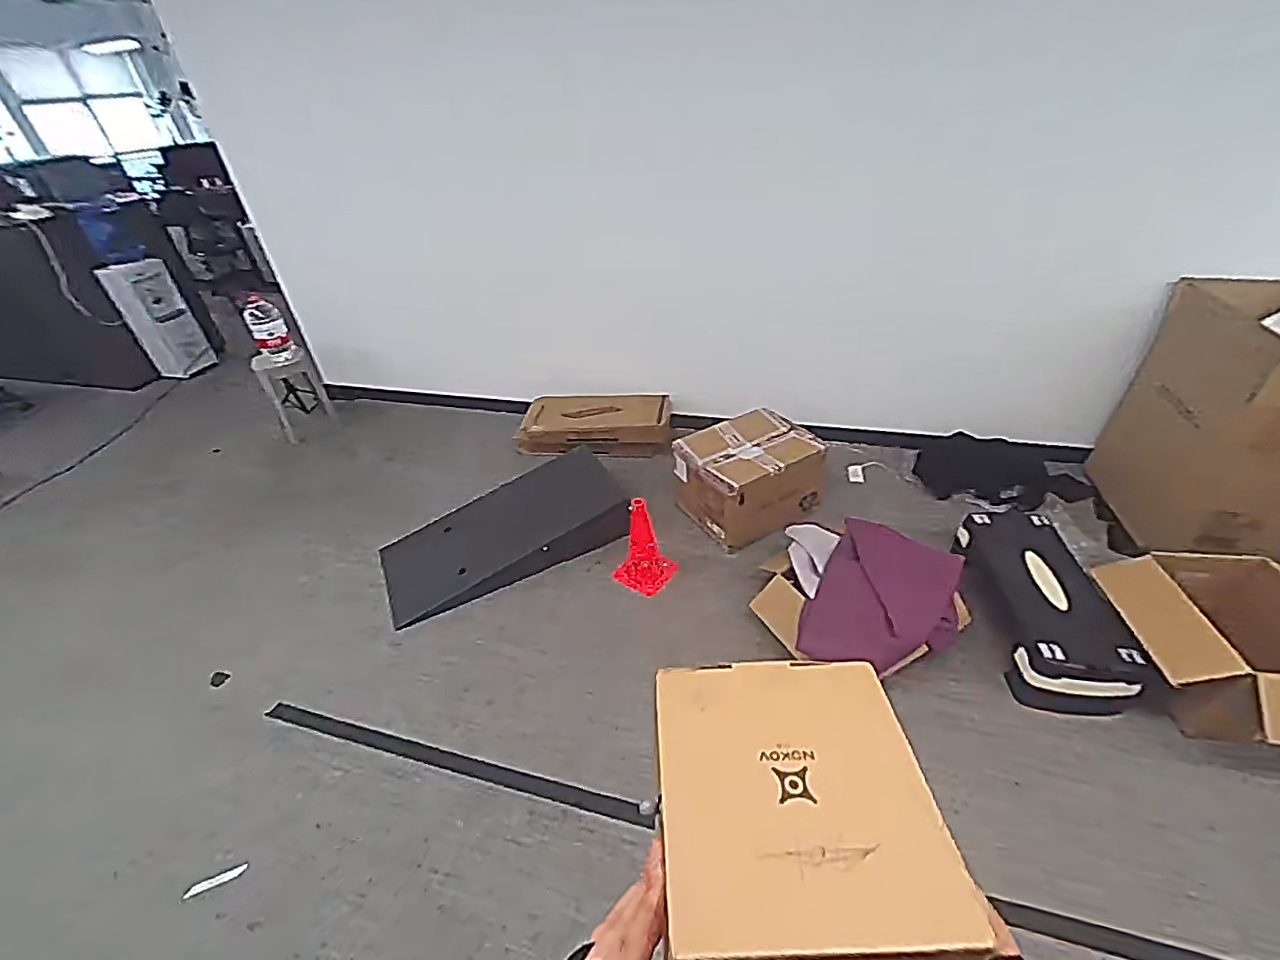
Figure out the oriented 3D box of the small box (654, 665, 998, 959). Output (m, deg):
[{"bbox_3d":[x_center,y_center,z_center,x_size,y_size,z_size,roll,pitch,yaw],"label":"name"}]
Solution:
[{"bbox_3d":[0.096,0.256,0.379,0.168,0.176,0.179,-2,33,-1],"label":"small box"}]
